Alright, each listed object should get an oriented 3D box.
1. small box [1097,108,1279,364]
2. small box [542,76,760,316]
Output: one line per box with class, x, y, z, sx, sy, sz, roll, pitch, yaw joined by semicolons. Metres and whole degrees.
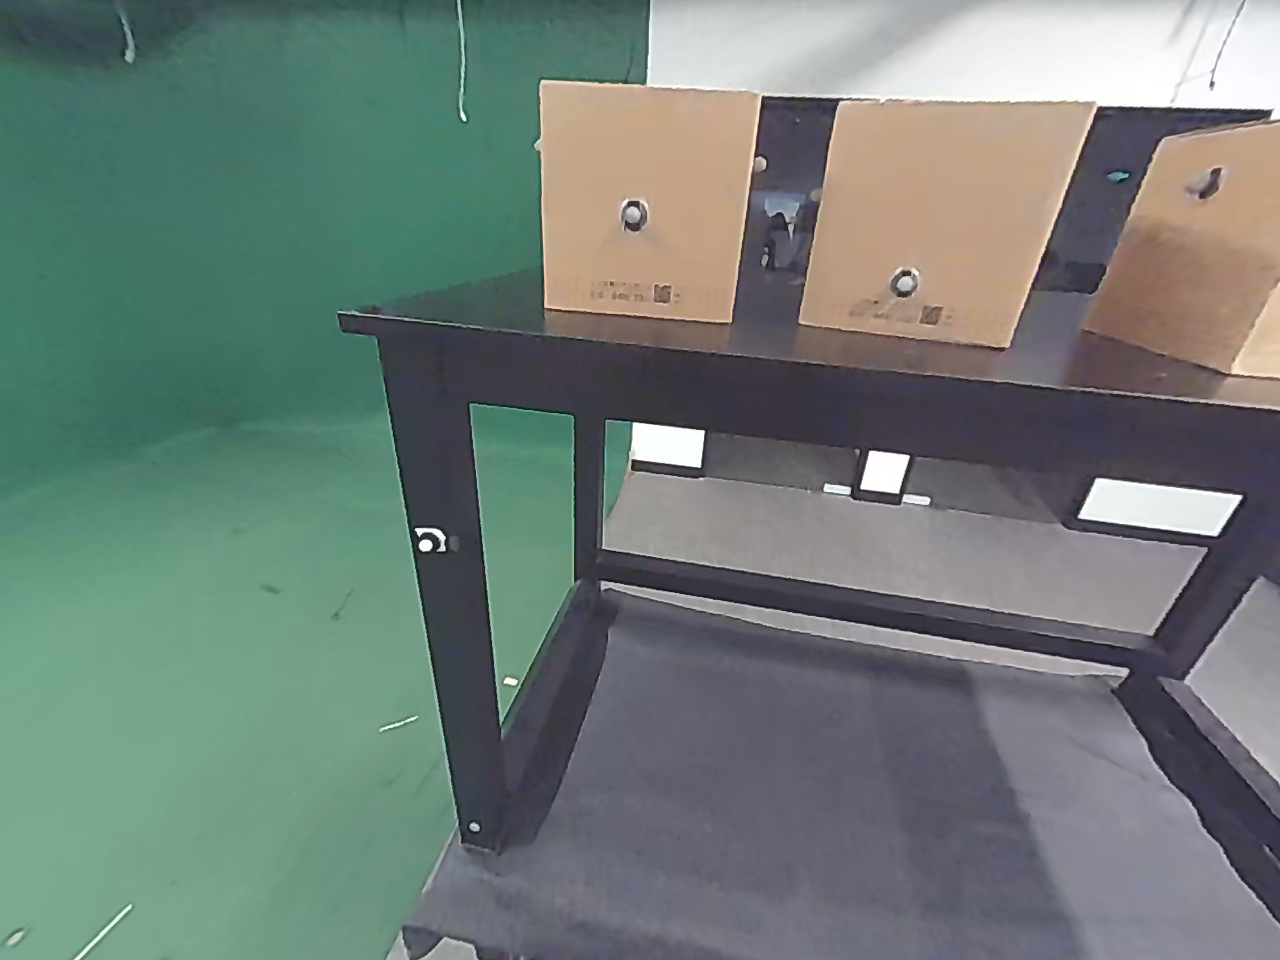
small box;0.517;-0.181;0.415;0.168;0.176;0.179;5;26;5
small box;0.015;-0.255;0.504;0.168;0.176;0.179;7;27;5
